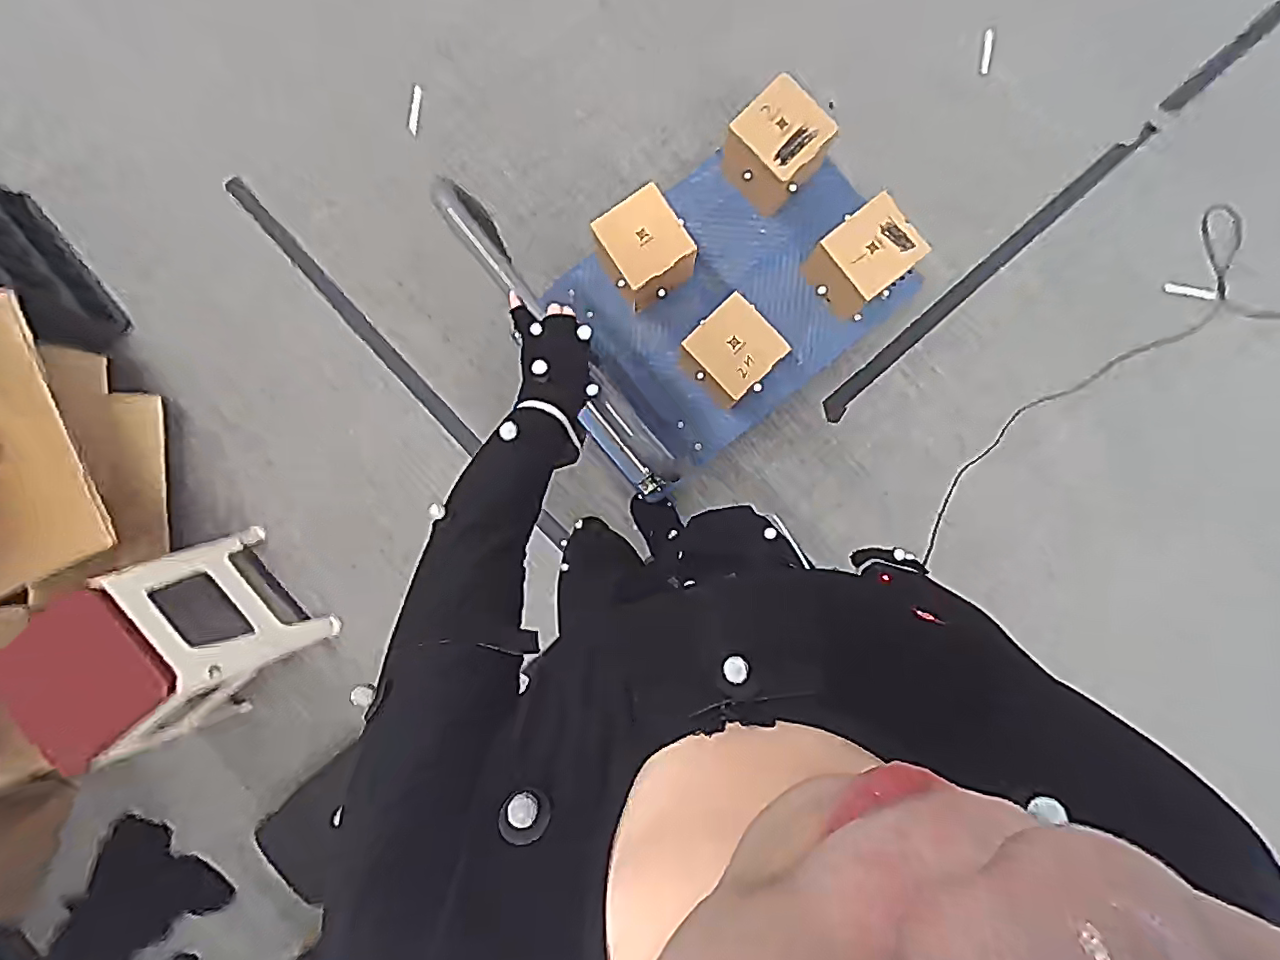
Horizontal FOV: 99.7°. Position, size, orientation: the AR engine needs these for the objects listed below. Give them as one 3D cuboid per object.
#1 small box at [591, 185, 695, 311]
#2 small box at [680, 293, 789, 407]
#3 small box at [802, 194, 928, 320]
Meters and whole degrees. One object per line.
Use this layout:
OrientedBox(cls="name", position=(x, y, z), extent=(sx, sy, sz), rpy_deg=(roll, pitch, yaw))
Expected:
OrientedBox(cls="small box", position=(0.005, -0.521, 1.240), extent=(0.168, 0.176, 0.179), rpy_deg=(-34, 91, 1))
OrientedBox(cls="small box", position=(0.204, -0.285, 1.235), extent=(0.168, 0.176, 0.179), rpy_deg=(-44, 89, 2))
OrientedBox(cls="small box", position=(0.498, -0.495, 1.226), extent=(0.179, 0.176, 0.168), rpy_deg=(-38, 89, 3))
